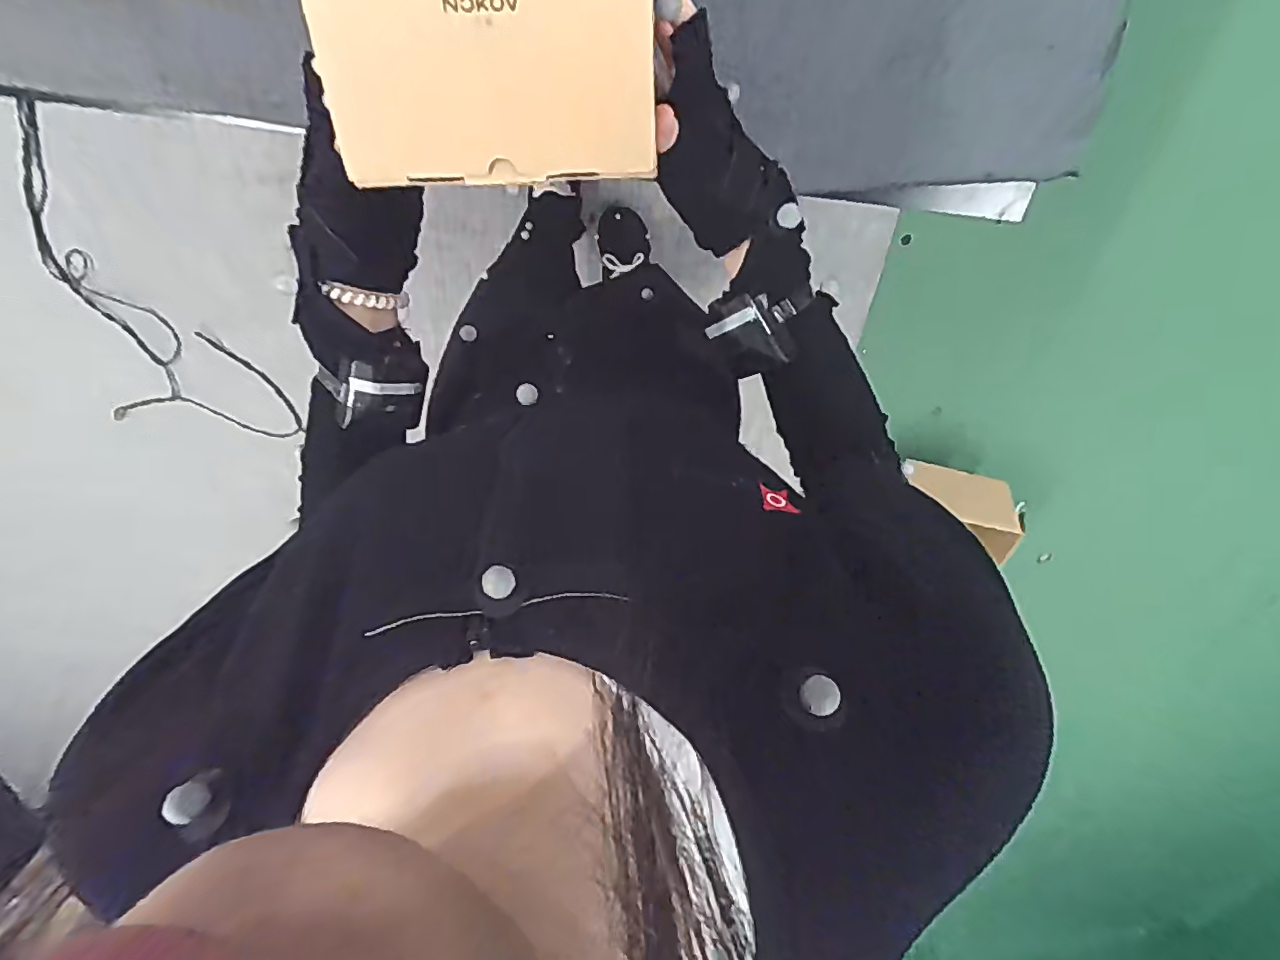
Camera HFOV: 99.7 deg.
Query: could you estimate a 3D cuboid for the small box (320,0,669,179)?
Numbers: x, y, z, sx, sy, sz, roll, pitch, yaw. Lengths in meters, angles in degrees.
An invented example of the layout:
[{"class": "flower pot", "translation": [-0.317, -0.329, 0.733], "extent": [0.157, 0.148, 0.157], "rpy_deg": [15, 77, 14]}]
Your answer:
[{"class": "small box", "translation": [-0.074, -0.280, 0.316], "extent": [0.168, 0.176, 0.179], "rpy_deg": [-3, 122, -2]}]
